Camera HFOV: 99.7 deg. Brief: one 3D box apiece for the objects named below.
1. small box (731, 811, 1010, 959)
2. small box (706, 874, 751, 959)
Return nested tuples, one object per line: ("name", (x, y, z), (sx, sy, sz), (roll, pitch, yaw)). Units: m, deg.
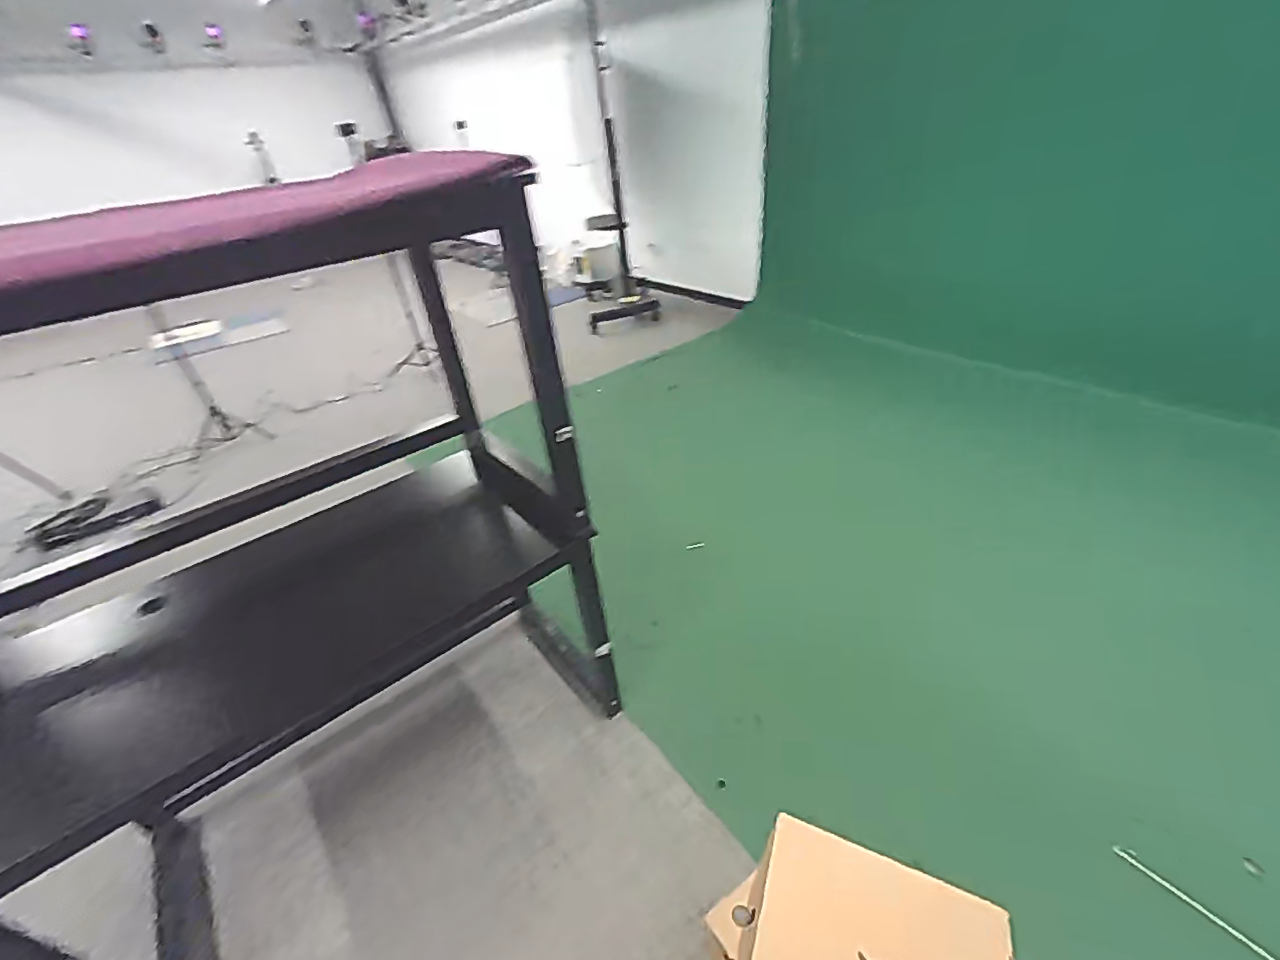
("small box", (0.157, 0.402, 0.411), (0.179, 0.176, 0.168), (14, 39, 16))
("small box", (0.243, 0.848, 0.991), (0.179, 0.176, 0.168), (-24, 37, -23))
